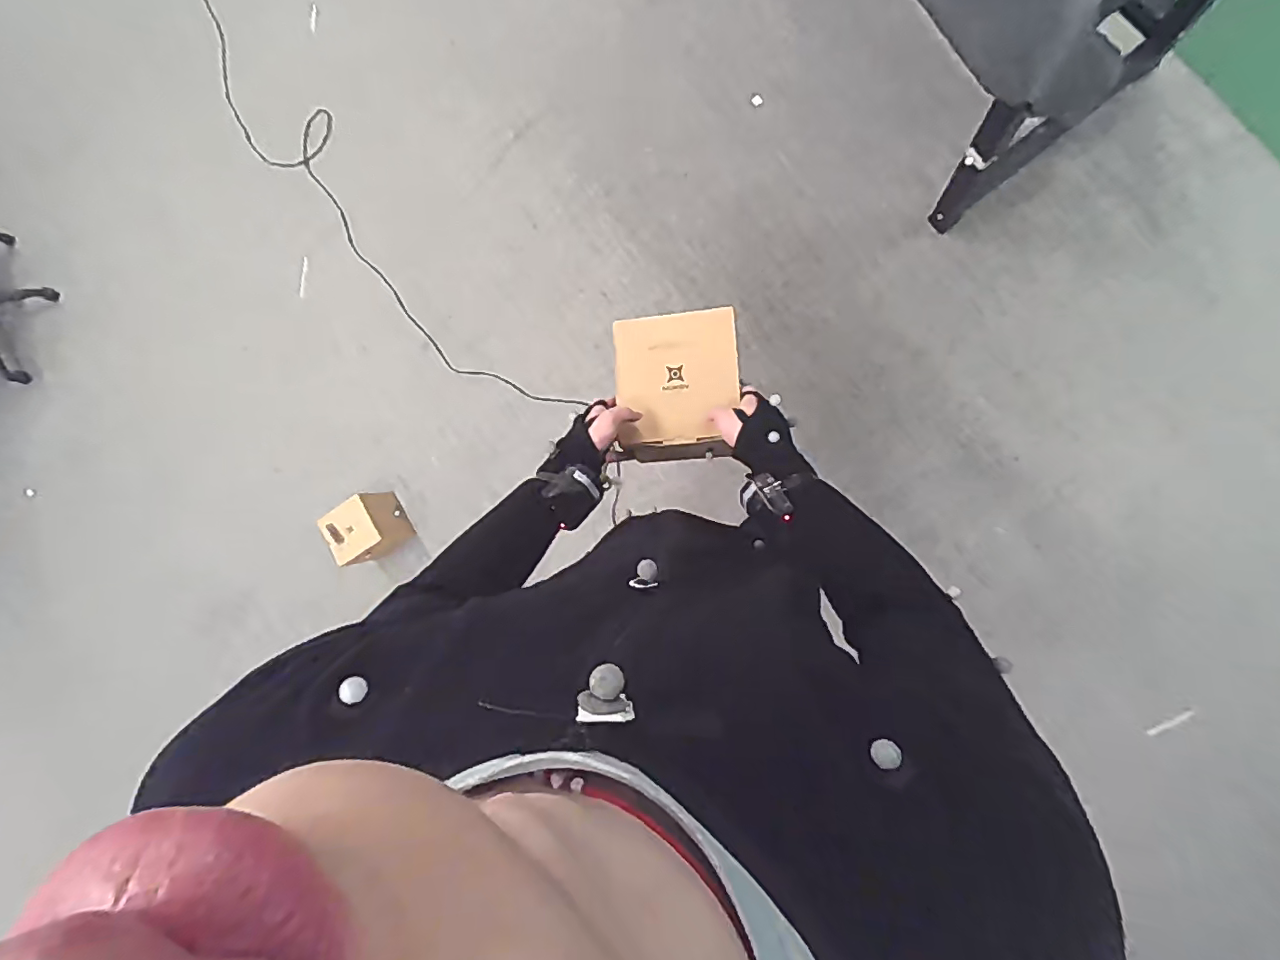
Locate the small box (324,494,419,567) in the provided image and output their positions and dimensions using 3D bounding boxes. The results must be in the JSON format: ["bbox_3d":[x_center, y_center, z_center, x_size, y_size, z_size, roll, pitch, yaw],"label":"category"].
[{"bbox_3d":[-0.852,0.159,1.728,0.179,0.176,0.168,-32,83,11],"label":"small box"}]

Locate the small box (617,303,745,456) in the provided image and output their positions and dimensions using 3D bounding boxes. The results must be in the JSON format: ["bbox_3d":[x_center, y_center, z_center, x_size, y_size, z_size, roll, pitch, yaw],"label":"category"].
[{"bbox_3d":[0.067,-0.133,0.791,0.168,0.176,0.179,-4,82,9],"label":"small box"}]
